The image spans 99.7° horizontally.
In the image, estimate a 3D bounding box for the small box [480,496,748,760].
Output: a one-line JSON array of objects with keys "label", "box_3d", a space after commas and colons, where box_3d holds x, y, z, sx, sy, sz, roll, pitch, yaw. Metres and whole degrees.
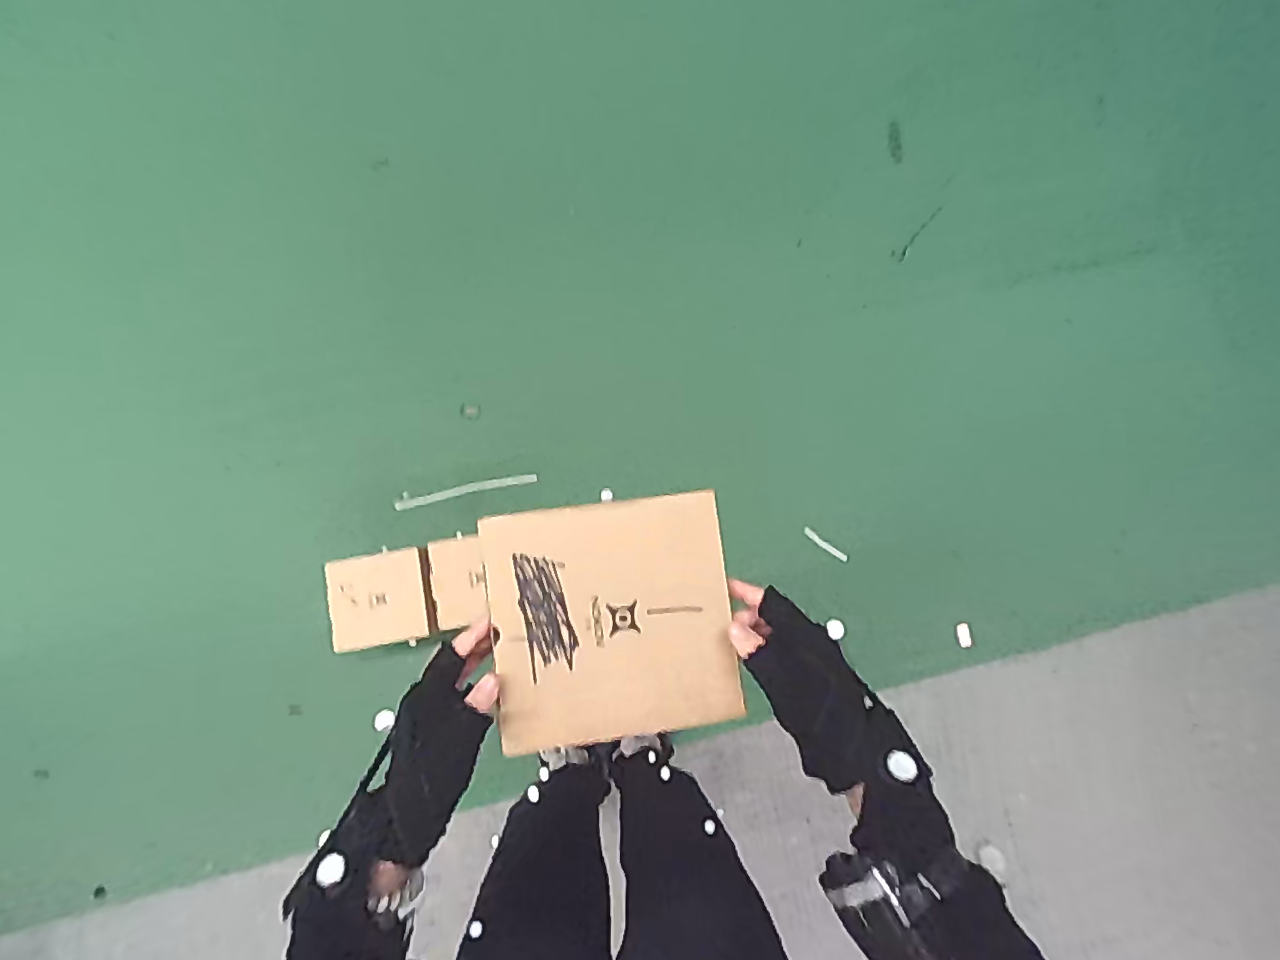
[{"label": "small box", "box_3d": [-0.023, 0.110, 0.459, 0.179, 0.176, 0.168, -7, 85, -5]}]
